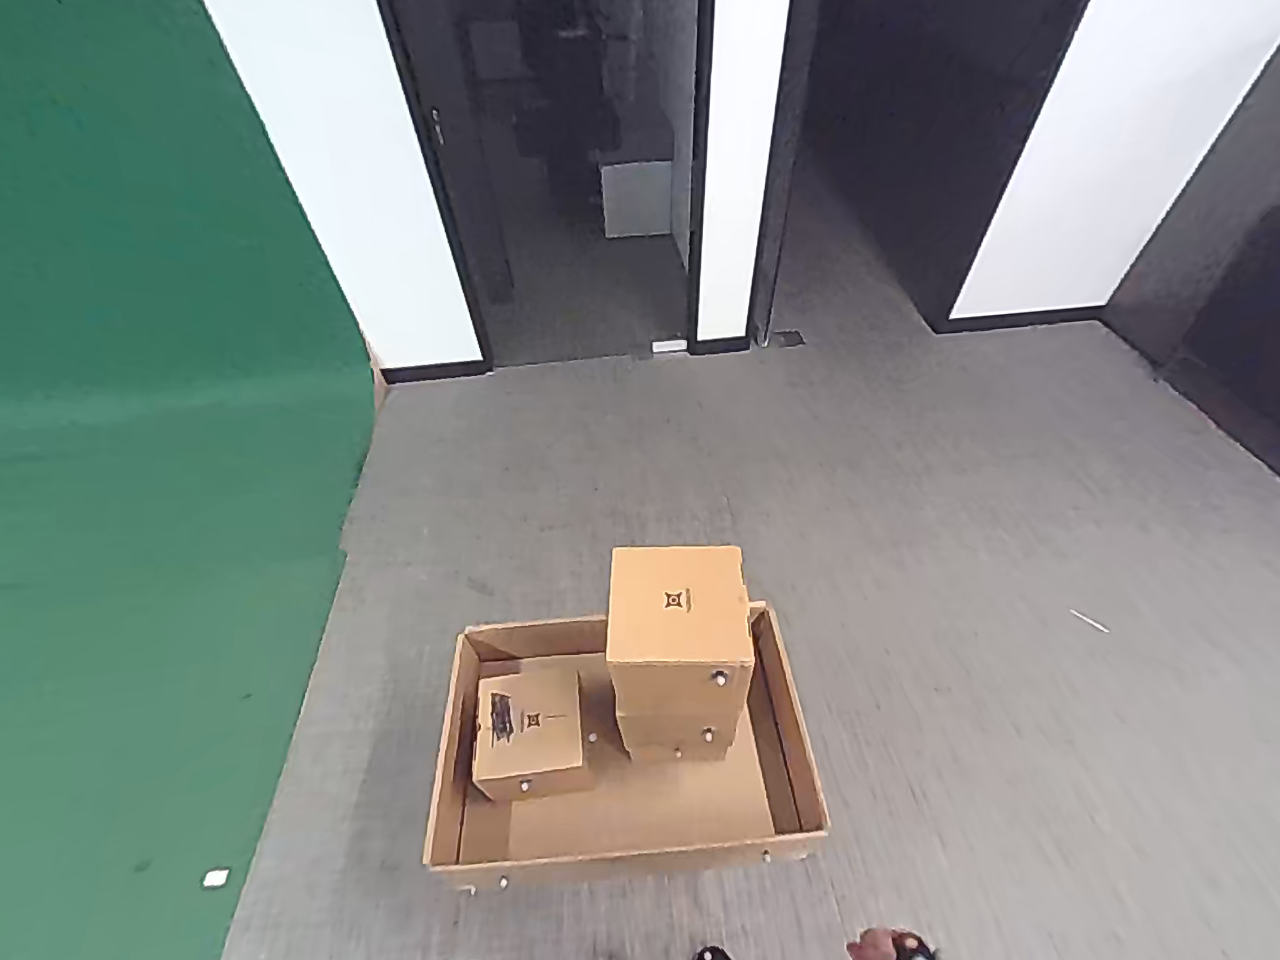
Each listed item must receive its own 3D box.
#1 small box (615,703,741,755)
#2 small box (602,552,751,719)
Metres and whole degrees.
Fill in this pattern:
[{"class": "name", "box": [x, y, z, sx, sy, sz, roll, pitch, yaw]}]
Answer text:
[{"class": "small box", "box": [0.056, 0.323, 0.853, 0.179, 0.176, 0.168, -3, 48, 3]}, {"class": "small box", "box": [0.050, 0.213, 0.734, 0.179, 0.176, 0.168, -1, 47, 3]}]
